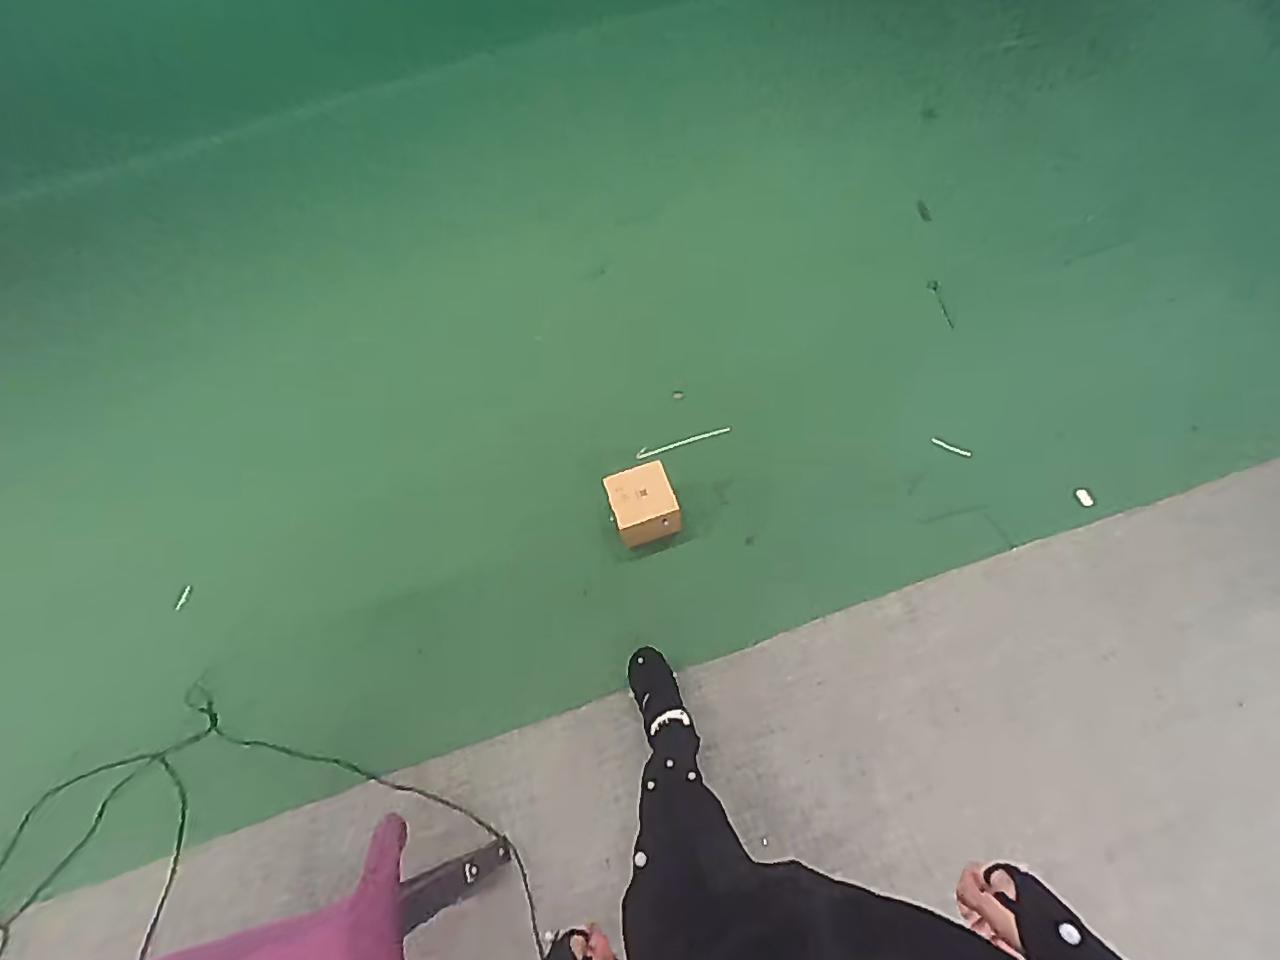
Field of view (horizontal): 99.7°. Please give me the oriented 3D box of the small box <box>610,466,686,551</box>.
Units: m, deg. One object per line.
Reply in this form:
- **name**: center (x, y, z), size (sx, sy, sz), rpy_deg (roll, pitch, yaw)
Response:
- **small box**: center (0.025, 0.086, 1.573), size (0.179, 0.176, 0.168), rpy_deg (-19, 63, -3)
